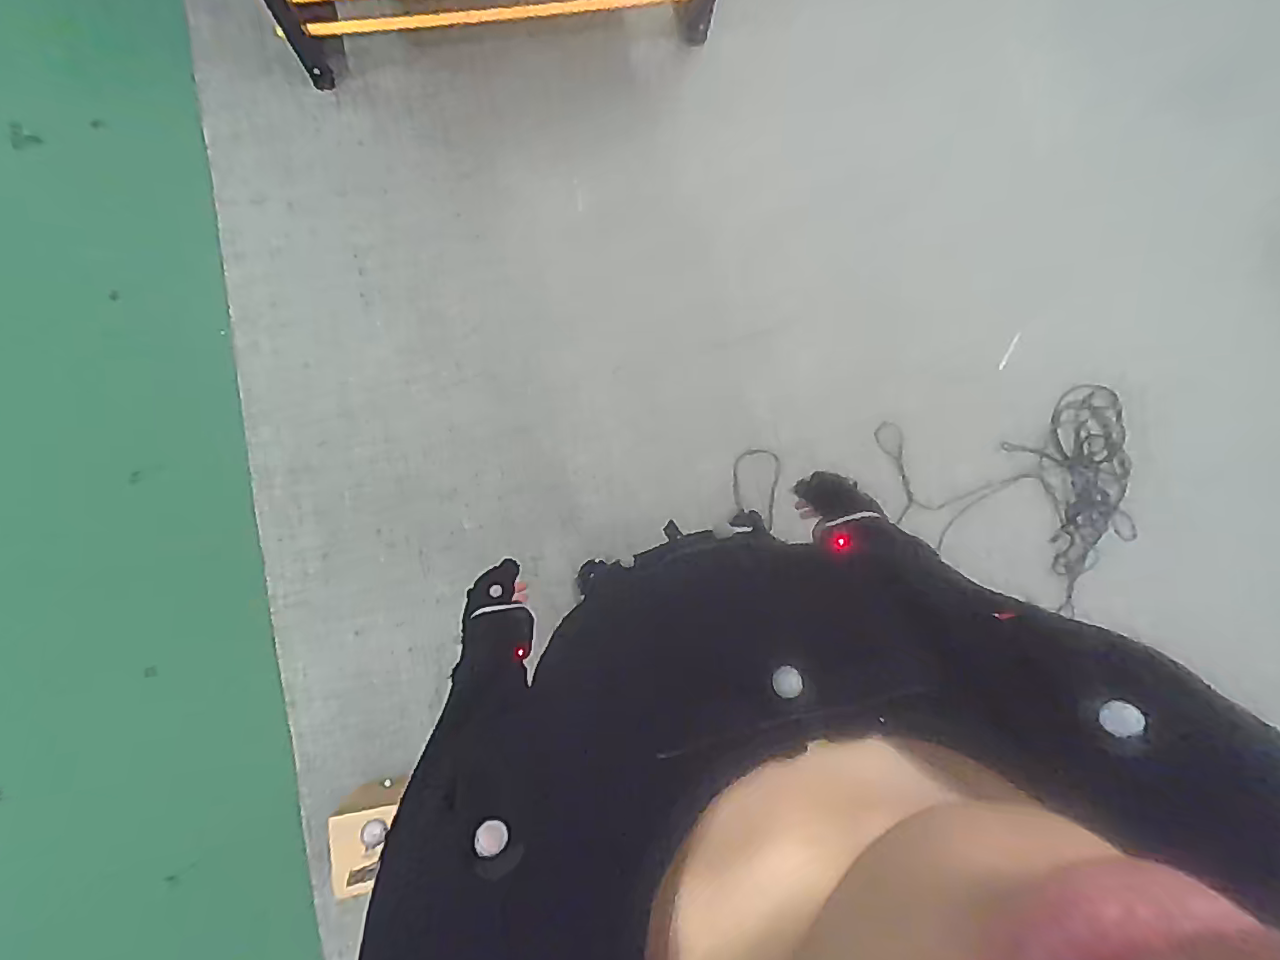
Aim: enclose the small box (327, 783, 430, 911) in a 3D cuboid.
[{"bbox_3d":[-0.599,0.841,1.255,0.168,0.176,0.179,-8,82,-6],"label":"small box"}]
